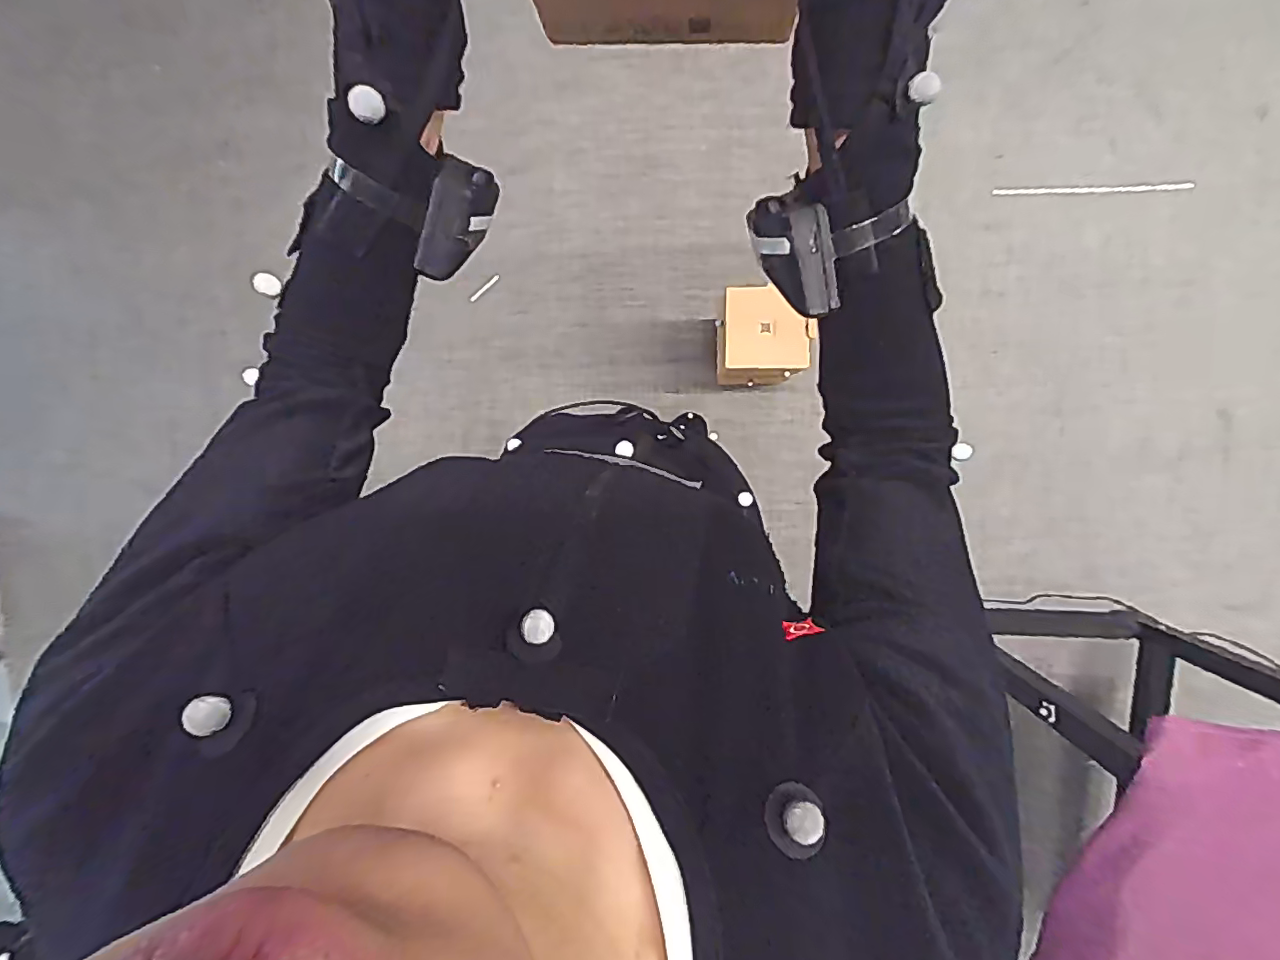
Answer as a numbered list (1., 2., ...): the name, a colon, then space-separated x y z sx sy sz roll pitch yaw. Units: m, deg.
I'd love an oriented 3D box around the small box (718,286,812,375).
1. small box: 0.266 -0.320 1.185 0.179 0.176 0.168 0 95 2
